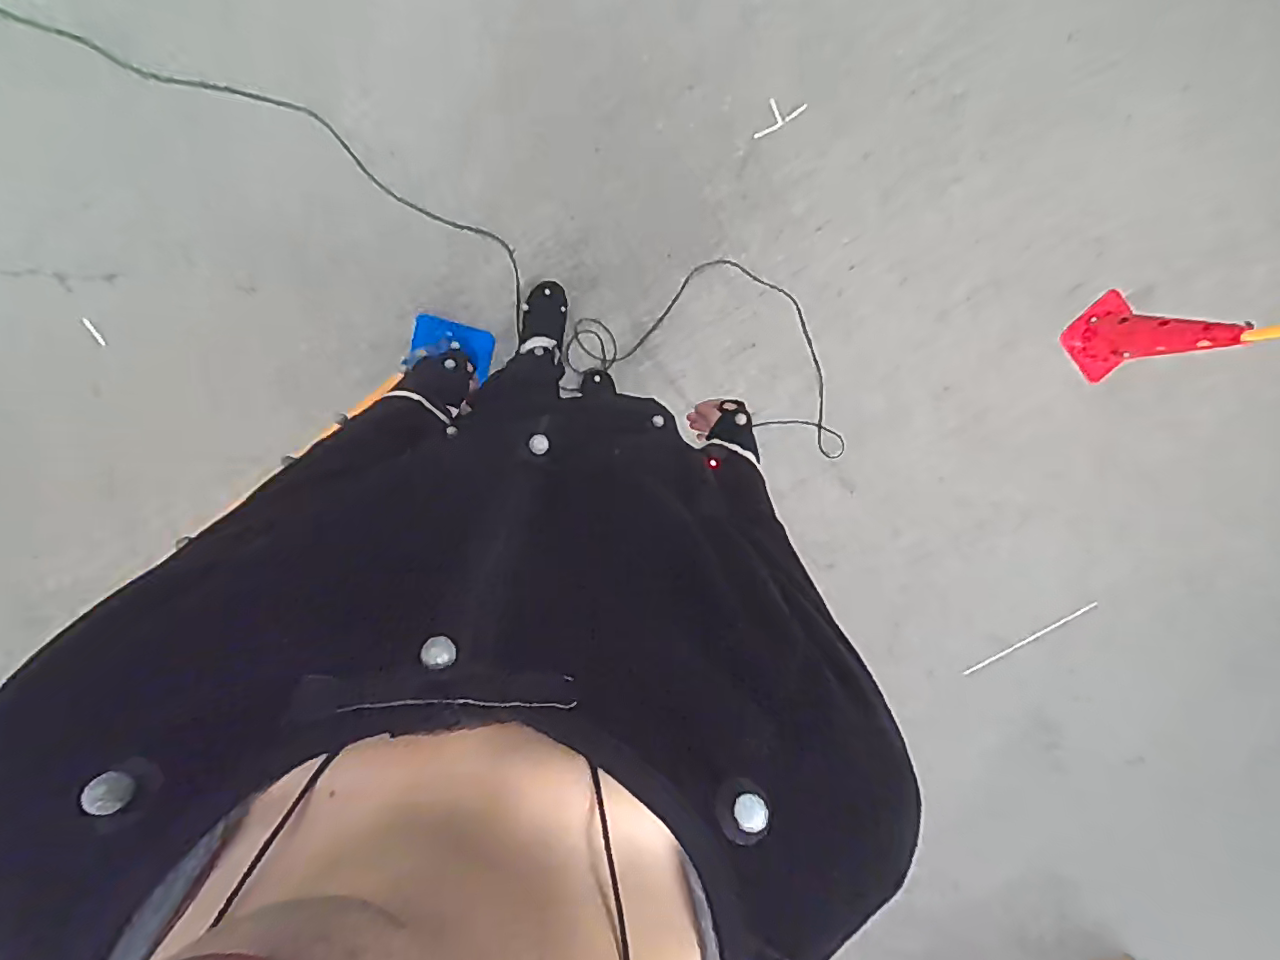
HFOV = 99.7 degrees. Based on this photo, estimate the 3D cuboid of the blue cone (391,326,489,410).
[{"bbox_3d":[-0.472,-0.235,1.221,0.192,0.380,0.193,13,105,-10],"label":"blue cone"}]
